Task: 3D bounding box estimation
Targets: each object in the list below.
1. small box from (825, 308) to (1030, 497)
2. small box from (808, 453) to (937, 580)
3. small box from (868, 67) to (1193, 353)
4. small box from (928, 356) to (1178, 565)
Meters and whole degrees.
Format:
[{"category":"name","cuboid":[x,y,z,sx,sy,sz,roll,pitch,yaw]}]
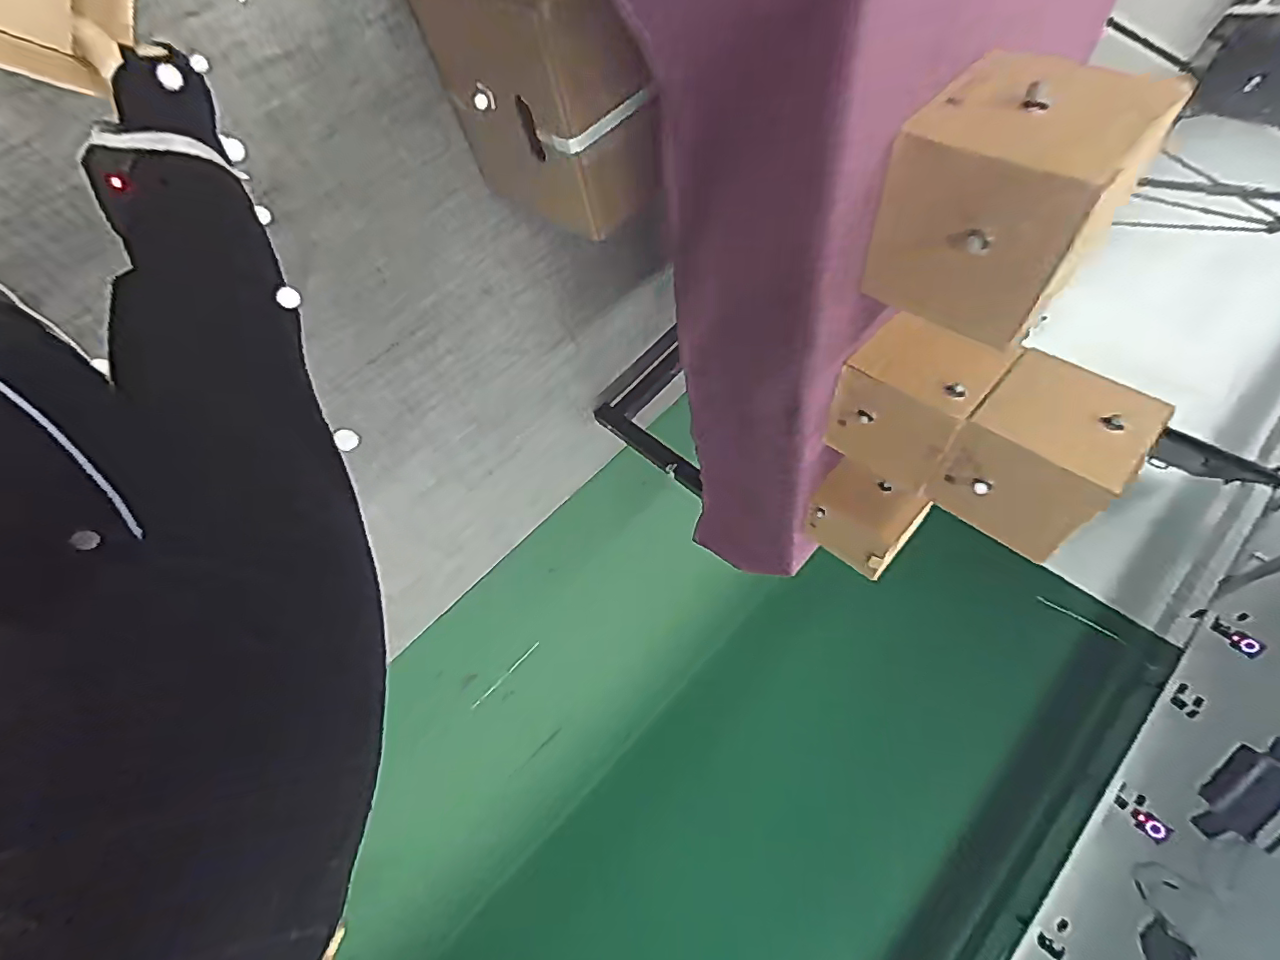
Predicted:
[{"category":"small box","cuboid":[0.399,-0.117,0.777,0.179,0.176,0.168,-40,150,-19]},{"category":"small box","cuboid":[0.446,0.054,1.044,0.179,0.176,0.168,-44,151,-16]},{"category":"small box","cuboid":[0.348,-0.264,0.522,0.168,0.176,0.179,-43,150,-15]},{"category":"small box","cuboid":[0.518,-0.030,0.703,0.179,0.176,0.168,-40,150,-20]}]
